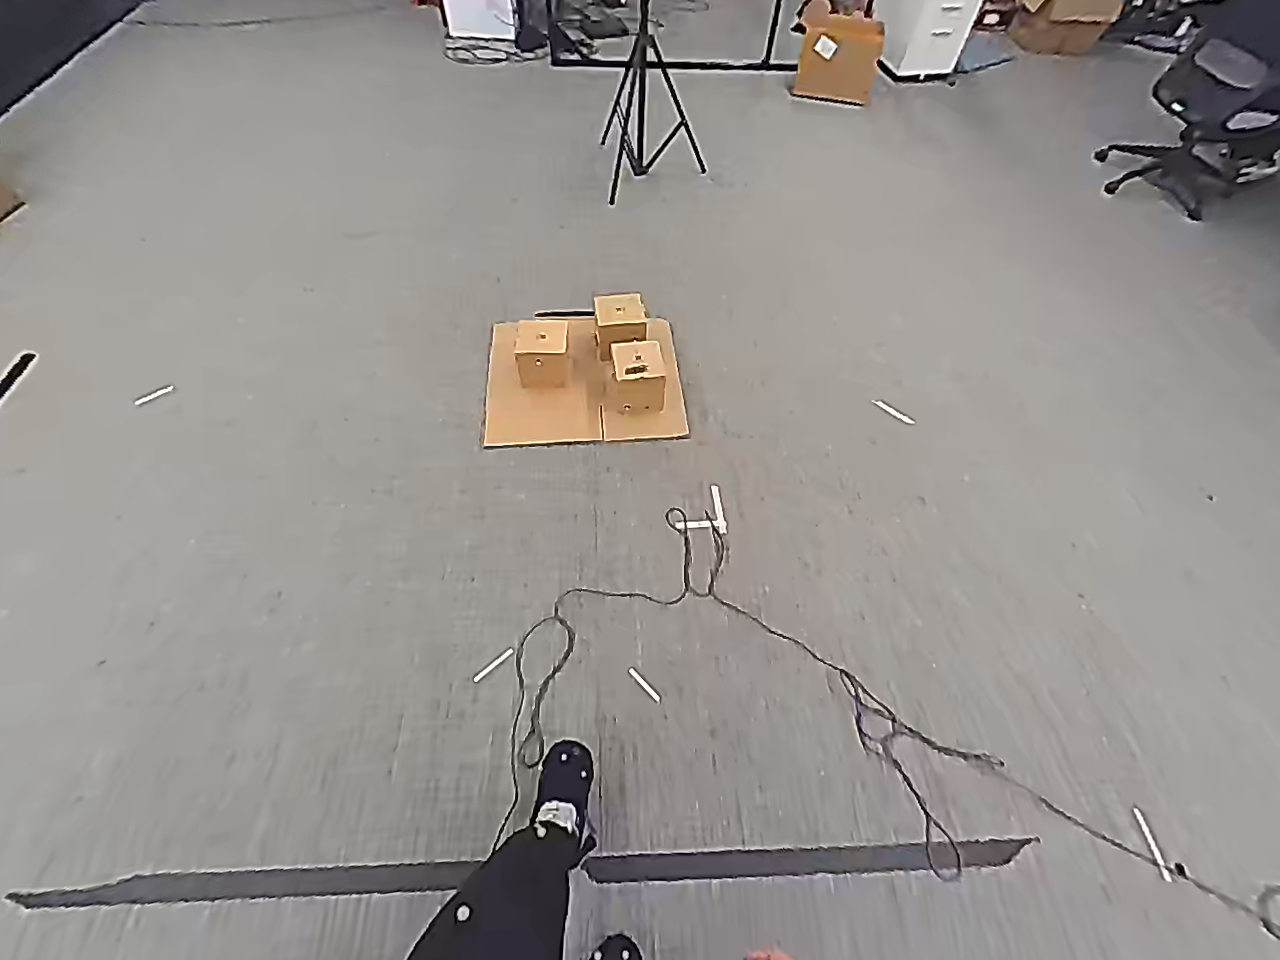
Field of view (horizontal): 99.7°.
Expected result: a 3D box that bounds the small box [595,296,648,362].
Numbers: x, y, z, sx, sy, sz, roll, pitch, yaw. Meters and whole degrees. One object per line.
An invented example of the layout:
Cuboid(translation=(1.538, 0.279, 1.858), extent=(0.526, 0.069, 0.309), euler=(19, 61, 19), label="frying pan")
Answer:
Cuboid(translation=(-0.071, -0.560, 2.016), extent=(0.179, 0.176, 0.168), euler=(-8, 56, -7), label="small box")

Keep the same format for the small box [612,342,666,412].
Cuboid(translation=(-0.006, -0.351, 1.875), extent=(0.168, 0.176, 0.179), euler=(-6, 57, -6), label="small box")

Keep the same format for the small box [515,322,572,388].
Cuboid(translation=(-0.335, -0.440, 1.921), extent=(0.179, 0.176, 0.168), euler=(-1, 56, -1), label="small box")
